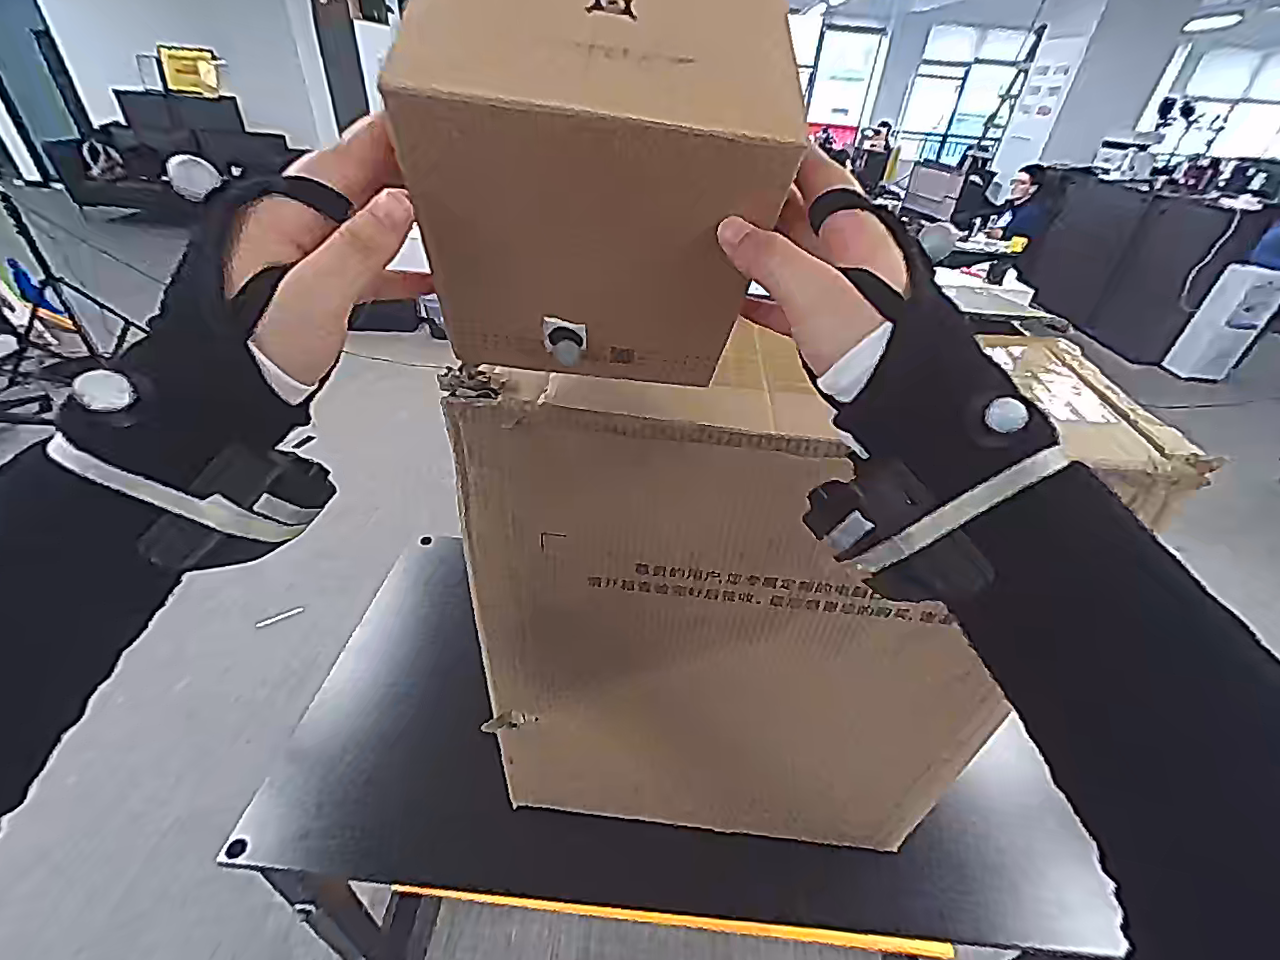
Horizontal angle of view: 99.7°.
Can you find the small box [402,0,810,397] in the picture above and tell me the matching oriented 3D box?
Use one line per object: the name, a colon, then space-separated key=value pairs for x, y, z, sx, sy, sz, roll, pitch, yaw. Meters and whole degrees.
small box: x=-0.020 y=-0.174 z=0.322 sx=0.168 sy=0.176 sz=0.179 roll=3 pitch=63 yaw=-6
